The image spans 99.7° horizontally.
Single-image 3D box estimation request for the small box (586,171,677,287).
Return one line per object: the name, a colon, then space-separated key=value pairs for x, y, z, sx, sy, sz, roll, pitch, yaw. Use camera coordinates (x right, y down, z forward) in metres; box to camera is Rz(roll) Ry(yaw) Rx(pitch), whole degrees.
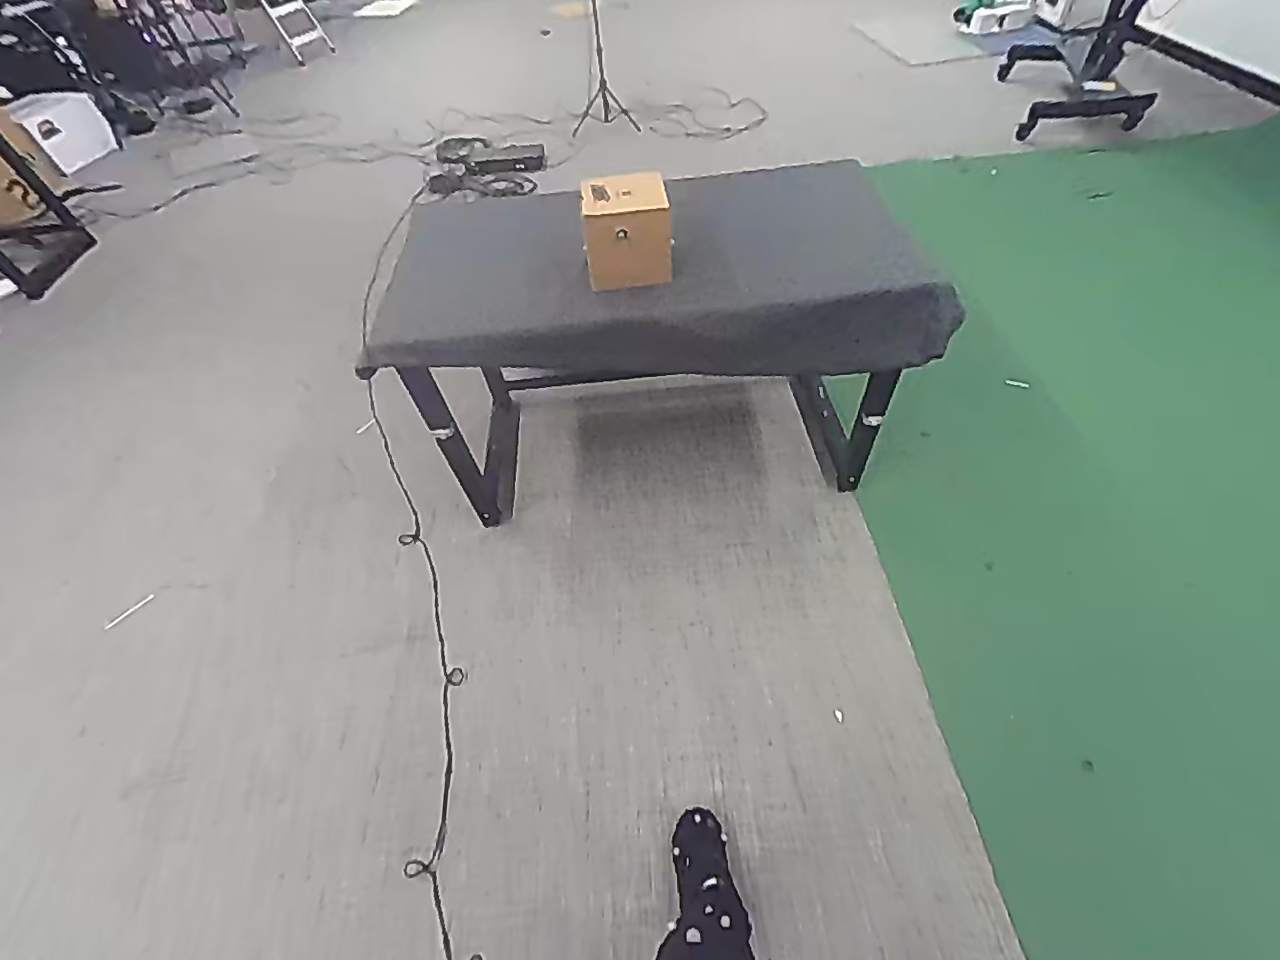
small box: x=-0.017 y=-0.535 z=1.164 sx=0.179 sy=0.176 sz=0.168 roll=-6 pitch=52 yaw=1
